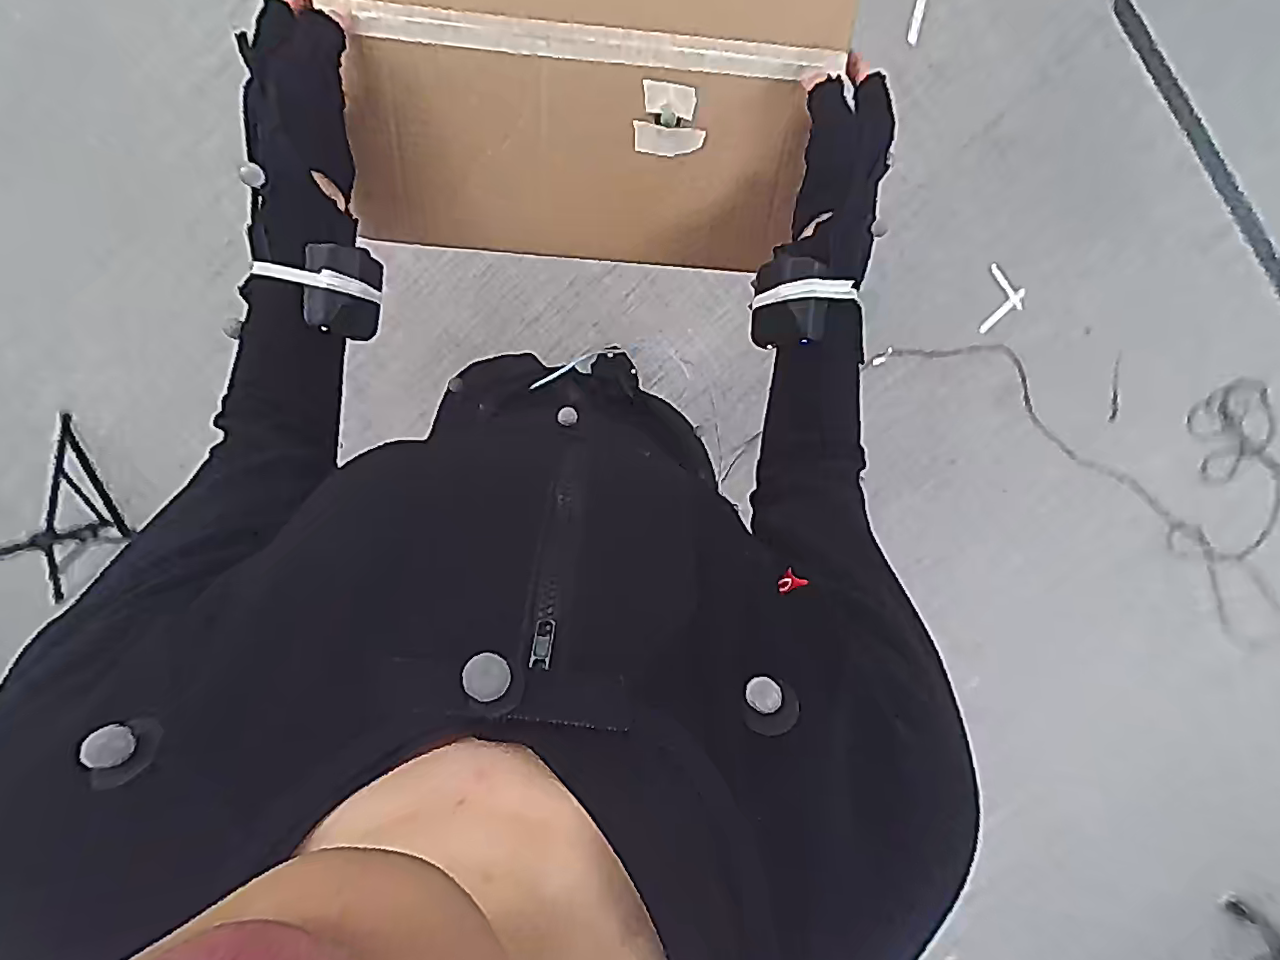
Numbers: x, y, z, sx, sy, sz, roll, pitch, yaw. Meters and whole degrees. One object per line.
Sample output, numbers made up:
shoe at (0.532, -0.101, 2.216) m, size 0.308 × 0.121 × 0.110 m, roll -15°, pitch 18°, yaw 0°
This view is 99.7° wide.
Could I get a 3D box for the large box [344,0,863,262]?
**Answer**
large box at (-0.035, -0.426, 0.551) m, size 0.408 × 0.320 × 0.320 m, roll 4°, pitch 122°, yaw -5°
